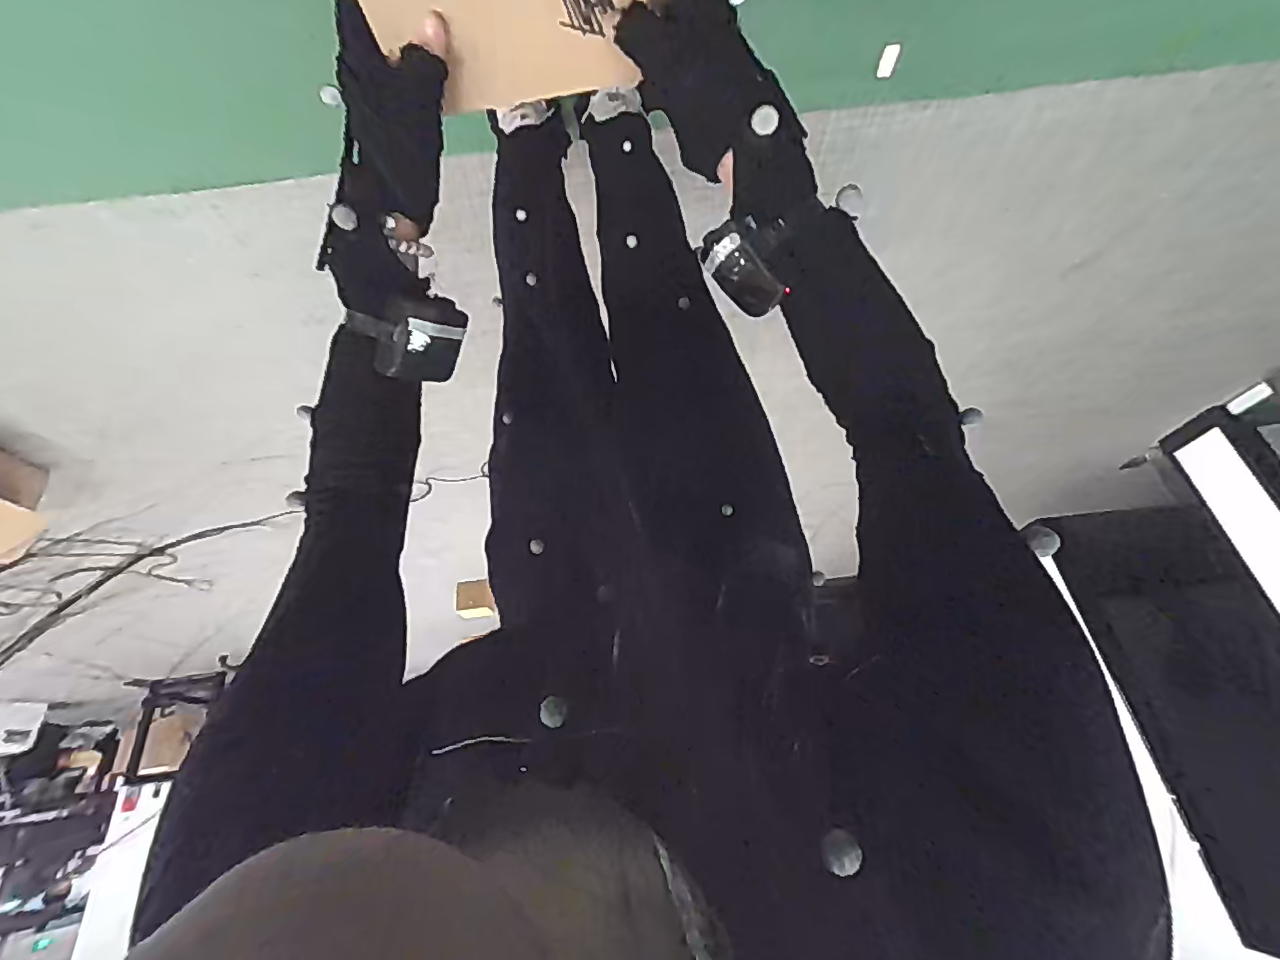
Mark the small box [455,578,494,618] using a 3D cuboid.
[{"bbox_3d":[-0.937,0.670,3.075,0.179,0.176,0.168,-9,153,0],"label":"small box"}]
